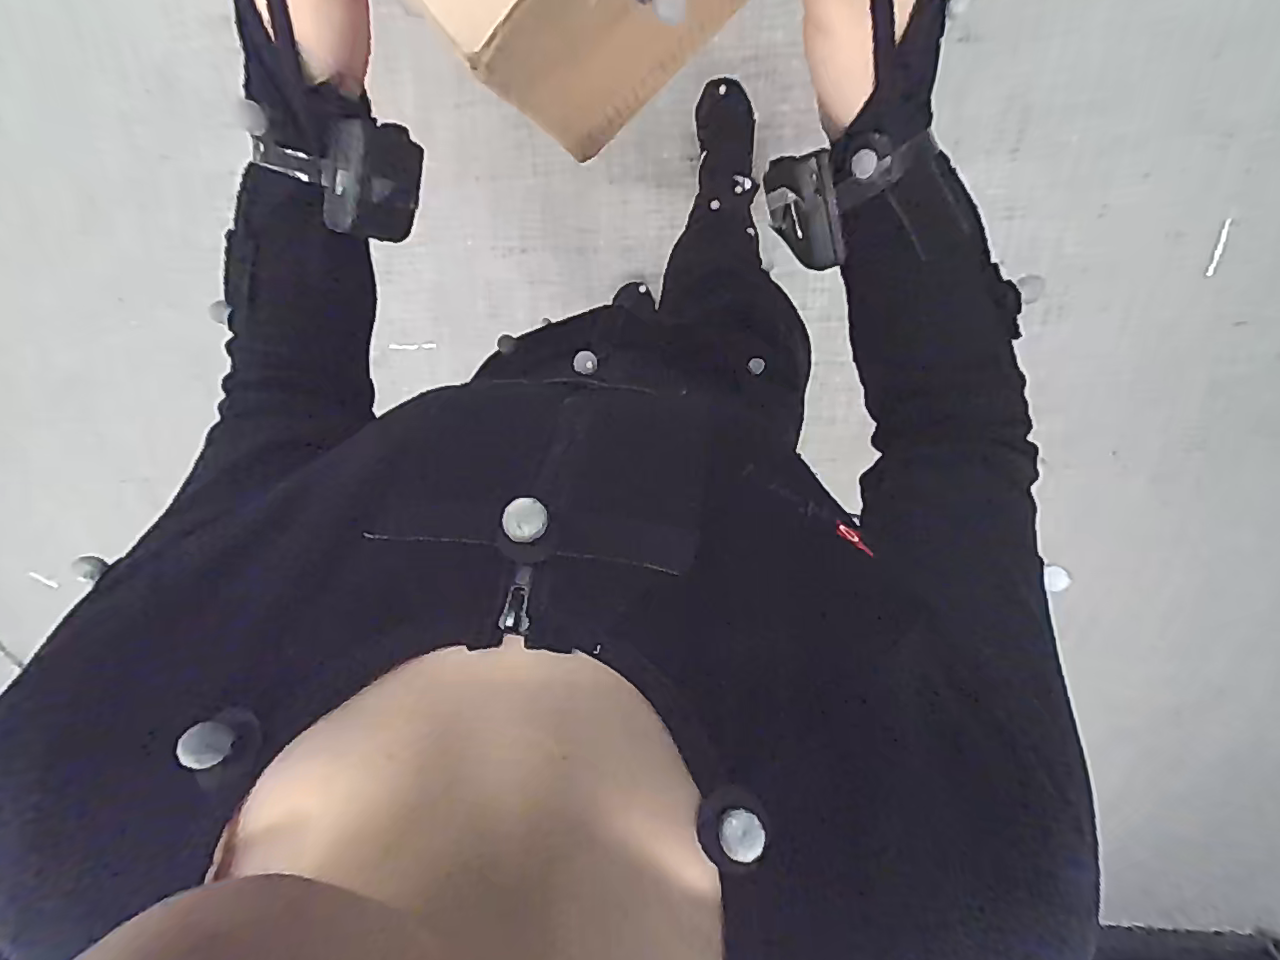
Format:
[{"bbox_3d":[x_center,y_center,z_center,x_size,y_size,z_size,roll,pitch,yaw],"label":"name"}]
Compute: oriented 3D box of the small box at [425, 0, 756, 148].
[{"bbox_3d":[-0.025,-0.276,0.216,0.179,0.176,0.168,-36,101,19],"label":"small box"}]
